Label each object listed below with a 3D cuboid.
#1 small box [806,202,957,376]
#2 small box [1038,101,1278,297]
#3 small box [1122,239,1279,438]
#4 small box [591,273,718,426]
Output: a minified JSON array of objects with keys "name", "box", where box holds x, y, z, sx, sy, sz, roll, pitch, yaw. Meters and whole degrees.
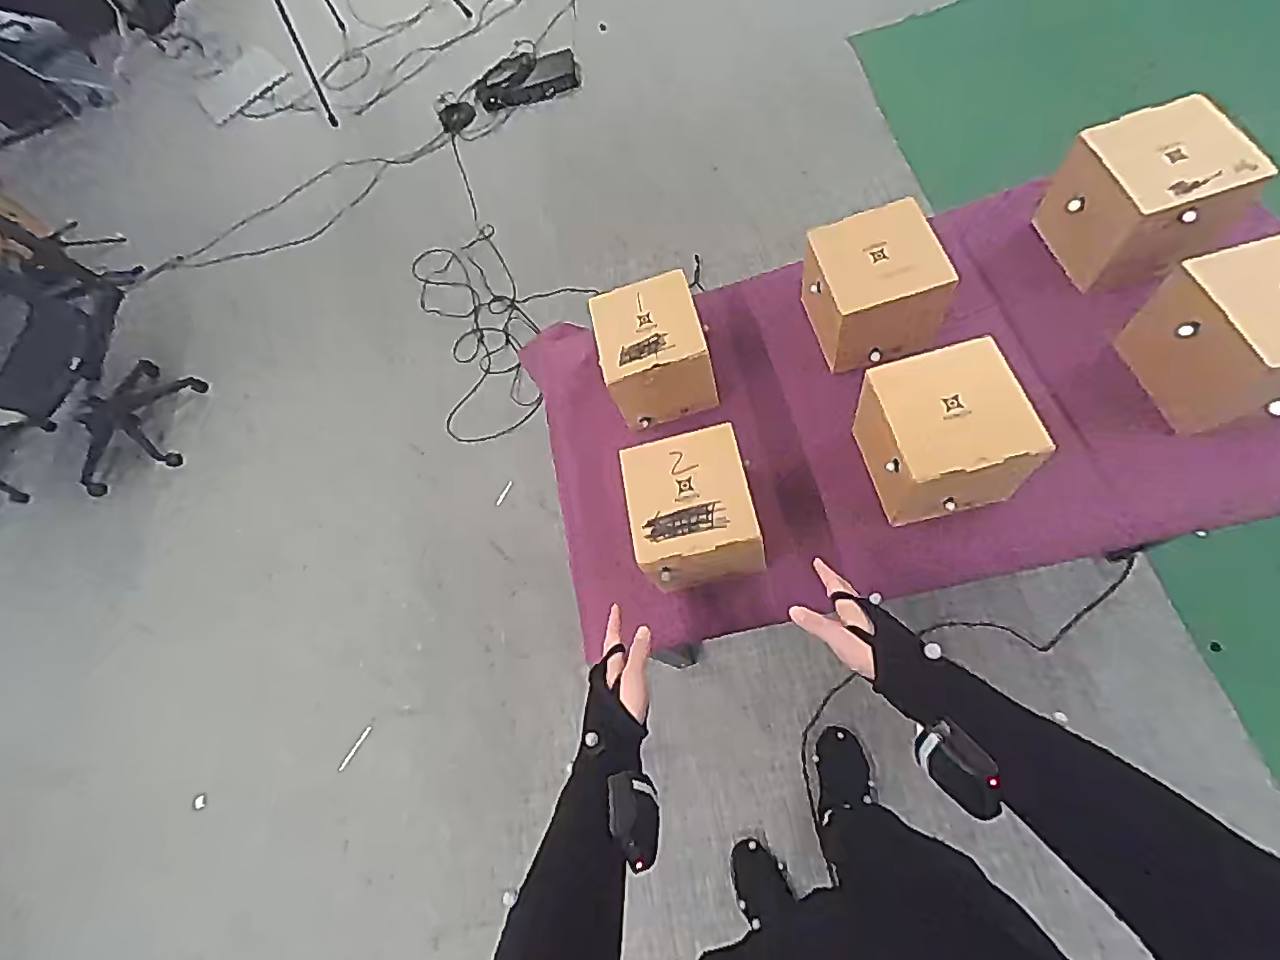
[{"name":"small box","box":[0.372,-0.299,0.874,0.168,0.176,0.179,-15,65,9]},{"name":"small box","box":[0.754,-0.415,0.818,0.168,0.176,0.179,-16,65,9]},{"name":"small box","box":[0.794,-0.182,0.705,0.168,0.176,0.179,-14,63,10]},{"name":"small box","box":[0.029,-0.211,0.926,0.168,0.176,0.179,-16,64,8]}]
